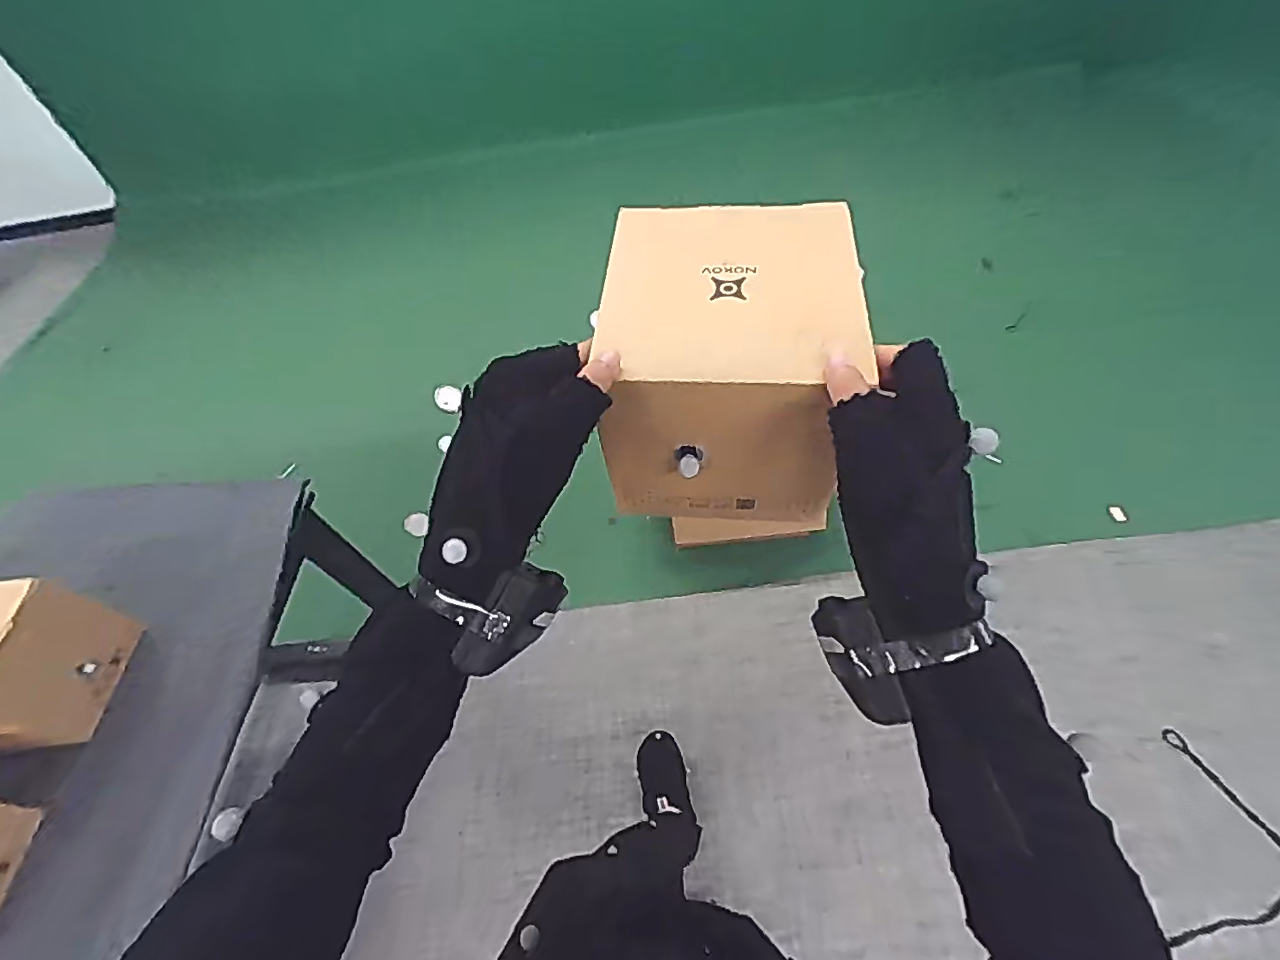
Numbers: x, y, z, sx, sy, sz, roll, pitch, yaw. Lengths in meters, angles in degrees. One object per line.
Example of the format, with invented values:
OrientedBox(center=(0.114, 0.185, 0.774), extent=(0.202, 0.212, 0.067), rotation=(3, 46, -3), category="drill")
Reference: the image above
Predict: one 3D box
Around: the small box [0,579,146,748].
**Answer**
OrientedBox(center=(-0.837, 0.249, 0.717), extent=(0.179, 0.176, 0.168), rotation=(-7, 54, 3), category="small box")

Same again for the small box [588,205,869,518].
OrientedBox(center=(0.066, -0.084, 0.422), extent=(0.168, 0.176, 0.179), rotation=(2, 57, 8), category="small box")
